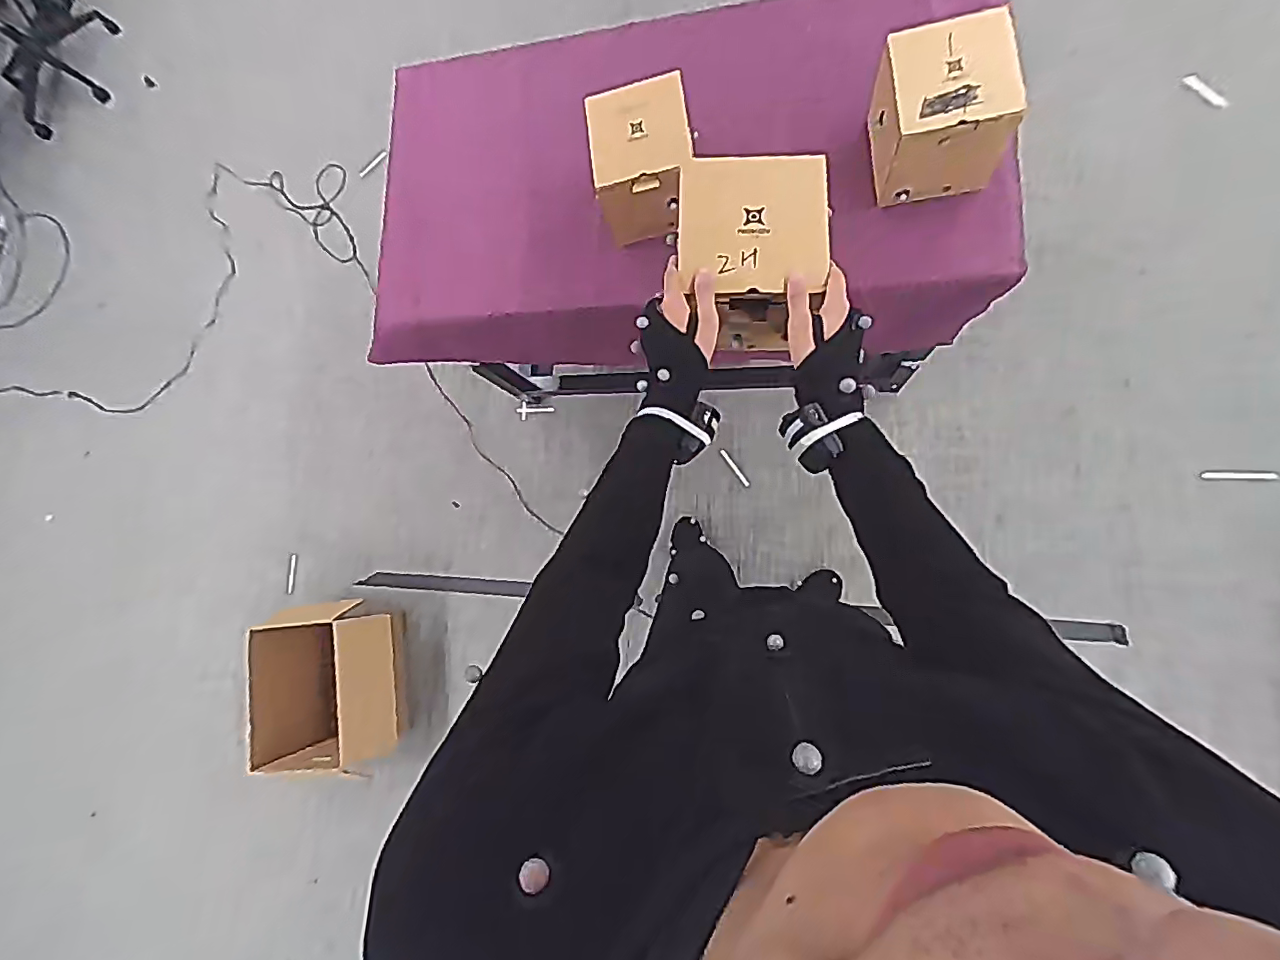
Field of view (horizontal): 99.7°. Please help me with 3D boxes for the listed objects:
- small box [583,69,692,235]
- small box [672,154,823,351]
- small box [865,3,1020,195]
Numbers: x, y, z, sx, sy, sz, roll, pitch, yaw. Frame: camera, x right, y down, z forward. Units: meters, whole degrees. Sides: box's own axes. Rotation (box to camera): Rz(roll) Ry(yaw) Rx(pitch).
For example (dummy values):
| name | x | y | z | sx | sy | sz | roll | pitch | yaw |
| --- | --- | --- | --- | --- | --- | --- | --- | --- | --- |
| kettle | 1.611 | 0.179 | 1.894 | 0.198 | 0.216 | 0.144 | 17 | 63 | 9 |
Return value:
| name | x | y | z | sx | sy | sz | roll | pitch | yaw |
| --- | --- | --- | --- | --- | --- | --- | --- | --- | --- |
| small box | 0.009 | -0.561 | 0.957 | 0.168 | 0.176 | 0.179 | -9 | 81 | 11 |
| small box | 0.127 | -0.277 | 0.686 | 0.168 | 0.176 | 0.179 | 2 | 86 | 5 |
| small box | 0.464 | -0.581 | 0.855 | 0.168 | 0.176 | 0.179 | -5 | 81 | 12 |
